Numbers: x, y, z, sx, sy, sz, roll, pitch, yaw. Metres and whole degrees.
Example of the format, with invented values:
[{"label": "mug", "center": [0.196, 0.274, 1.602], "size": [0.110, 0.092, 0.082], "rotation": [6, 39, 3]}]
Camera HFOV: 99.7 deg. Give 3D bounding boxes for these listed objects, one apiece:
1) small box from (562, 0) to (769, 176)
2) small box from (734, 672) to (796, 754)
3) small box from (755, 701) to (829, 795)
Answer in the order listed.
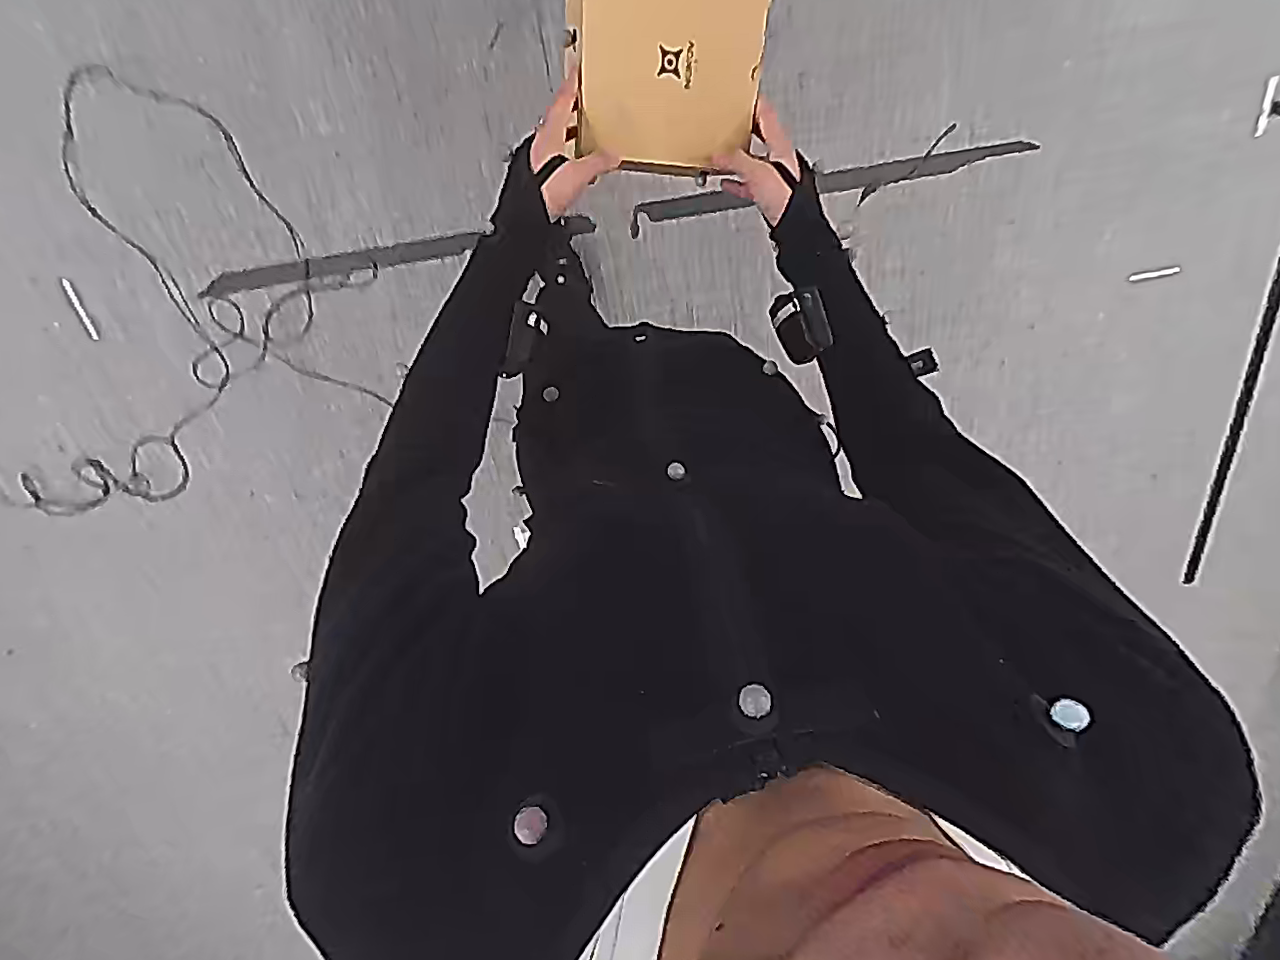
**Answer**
[{"label": "small box", "center": [0.012, -0.421, 0.565], "size": [0.179, 0.176, 0.168], "rotation": [-2, 118, -13]}, {"label": "small box", "center": [0.433, 0.775, 1.813], "size": [0.179, 0.176, 0.168], "rotation": [-16, 114, 0]}, {"label": "small box", "center": [0.462, 0.816, 1.654], "size": [0.168, 0.176, 0.179], "rotation": [-13, 114, -3]}]
